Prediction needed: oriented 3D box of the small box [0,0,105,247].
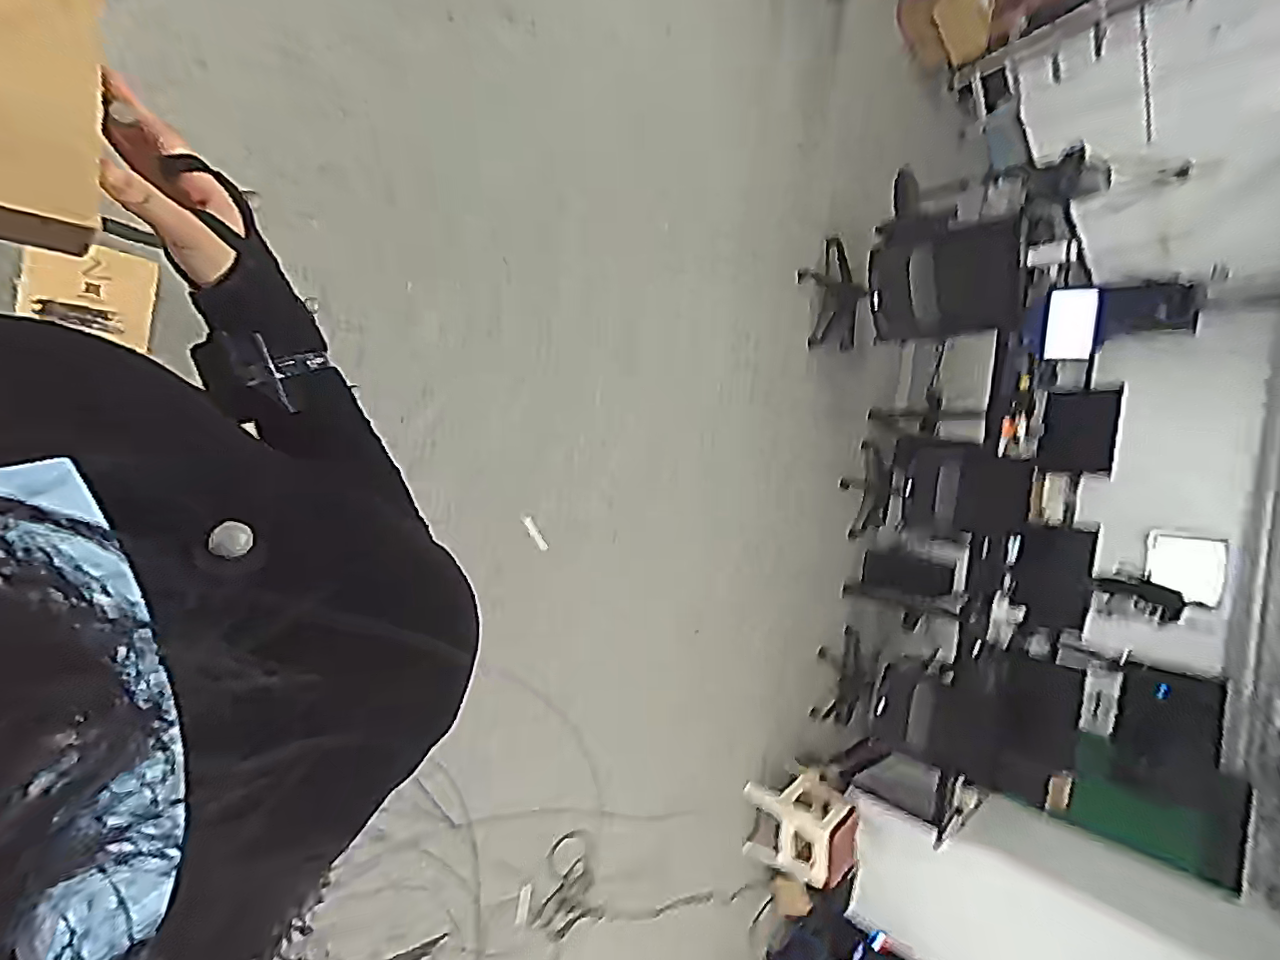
[{"bbox_3d":[-0.395,-0.234,0.275,0.168,0.176,0.179,0,101,-49],"label":"small box"}]
